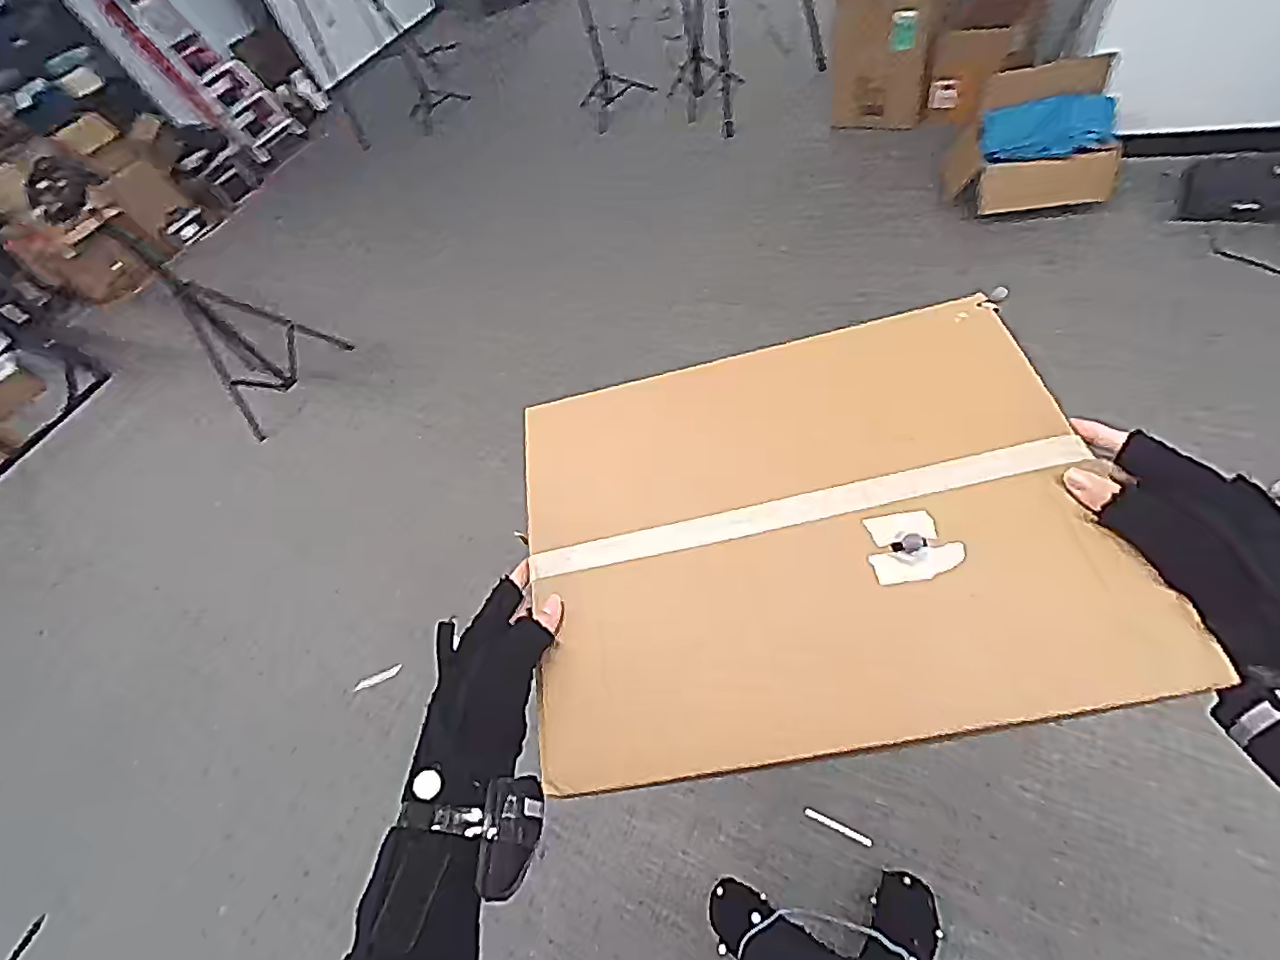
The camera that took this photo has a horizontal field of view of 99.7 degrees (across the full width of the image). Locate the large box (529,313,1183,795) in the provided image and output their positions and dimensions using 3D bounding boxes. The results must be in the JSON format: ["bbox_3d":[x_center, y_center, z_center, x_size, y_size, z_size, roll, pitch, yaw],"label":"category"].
[{"bbox_3d":[0.139,0.100,0.541,0.408,0.320,0.320,-14,60,5],"label":"large box"}]
